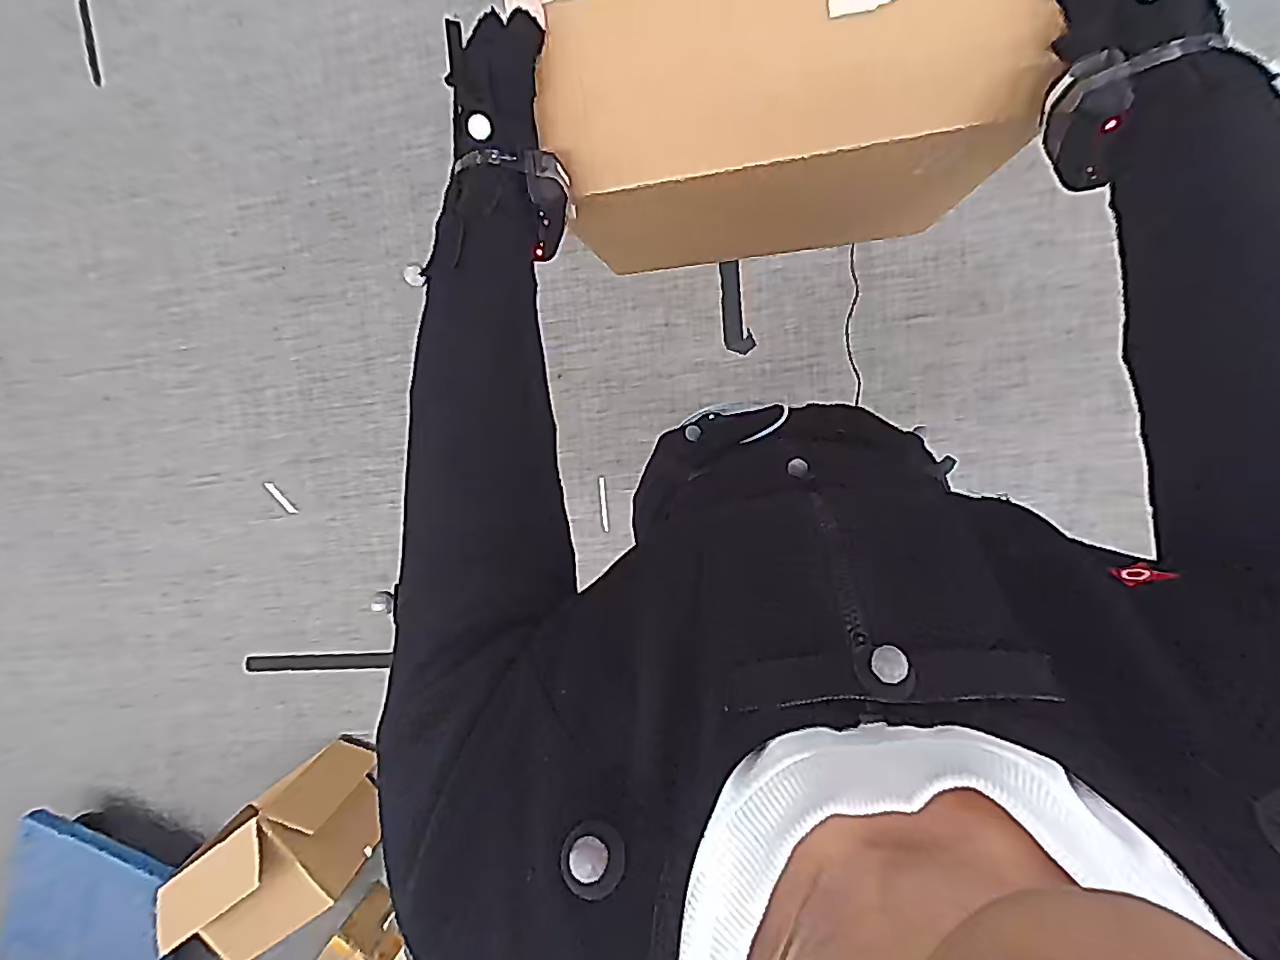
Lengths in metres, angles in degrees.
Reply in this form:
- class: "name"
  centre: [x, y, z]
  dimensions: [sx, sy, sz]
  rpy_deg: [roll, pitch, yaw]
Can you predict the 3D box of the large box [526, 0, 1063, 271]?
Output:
- class: "large box"
  centre: [0.121, -0.434, 0.556]
  dimensions: [0.408, 0.320, 0.320]
  rpy_deg: [-5, 99, 10]
